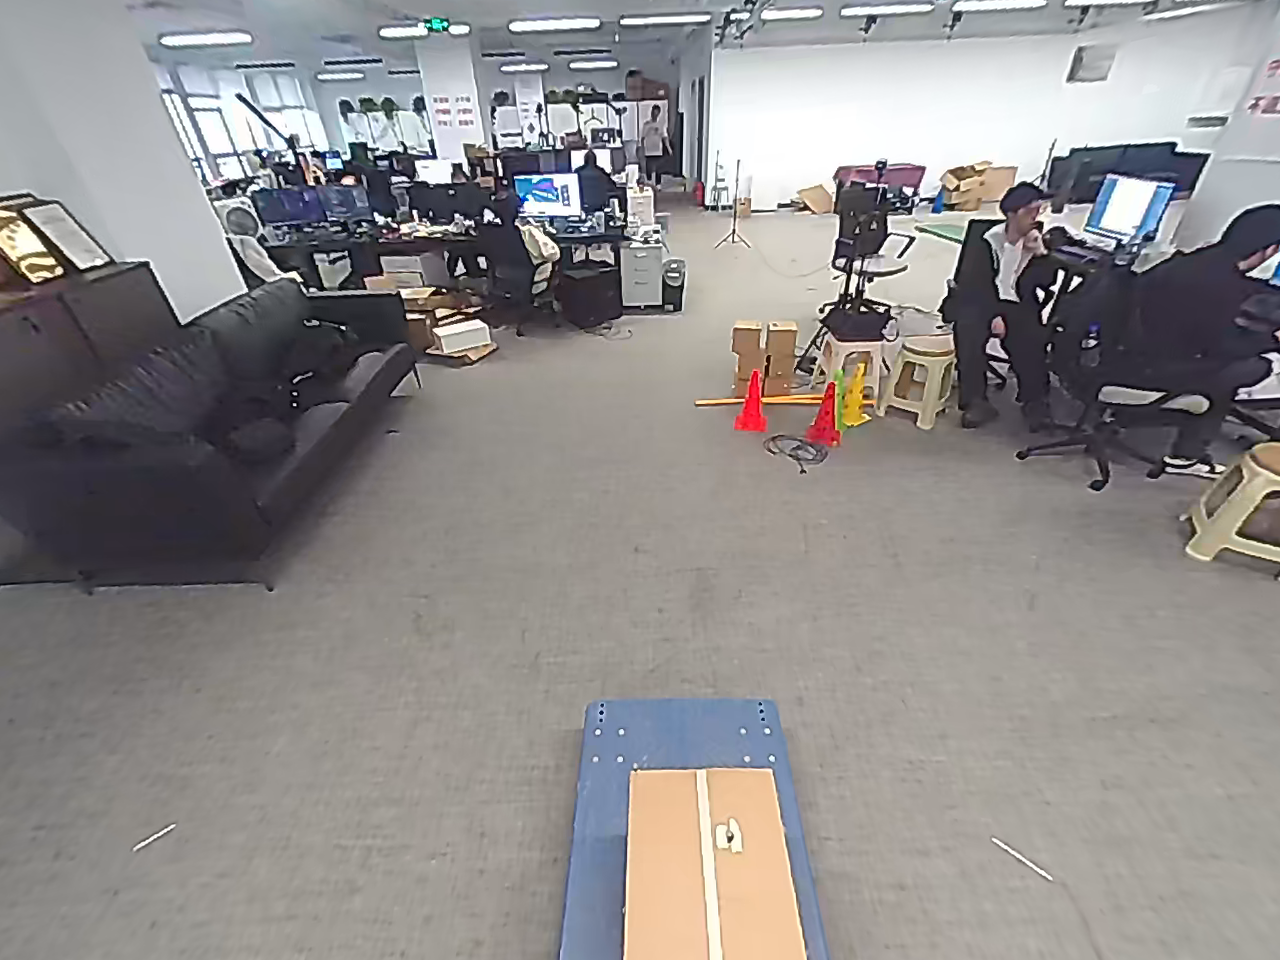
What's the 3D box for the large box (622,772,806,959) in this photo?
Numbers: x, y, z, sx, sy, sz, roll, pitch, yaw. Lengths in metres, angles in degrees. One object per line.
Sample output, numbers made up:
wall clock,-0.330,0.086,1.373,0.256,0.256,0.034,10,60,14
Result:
large box,0.133,0.877,1.098,0.320,0.320,0.408,-1,33,1
